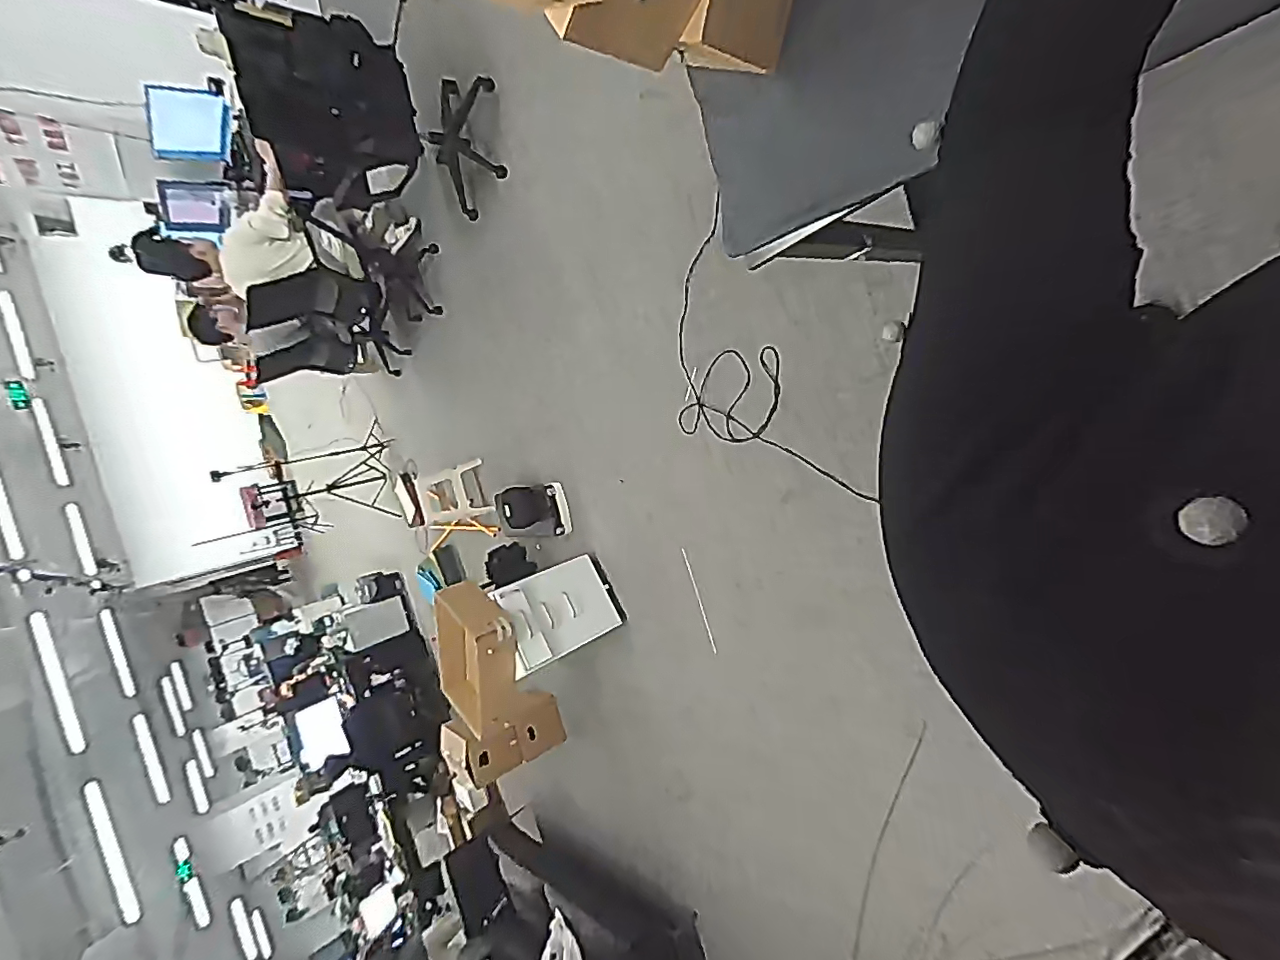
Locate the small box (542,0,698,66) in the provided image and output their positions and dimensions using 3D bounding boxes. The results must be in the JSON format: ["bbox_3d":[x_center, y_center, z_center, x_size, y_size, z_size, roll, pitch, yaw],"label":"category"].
[{"bbox_3d":[-0.022,-0.645,0.638,0.179,0.176,0.168,-42,72,49],"label":"small box"}]

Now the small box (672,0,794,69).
[{"bbox_3d":[0.098,-0.688,0.742,0.179,0.176,0.168,38,130,34],"label":"small box"}]
